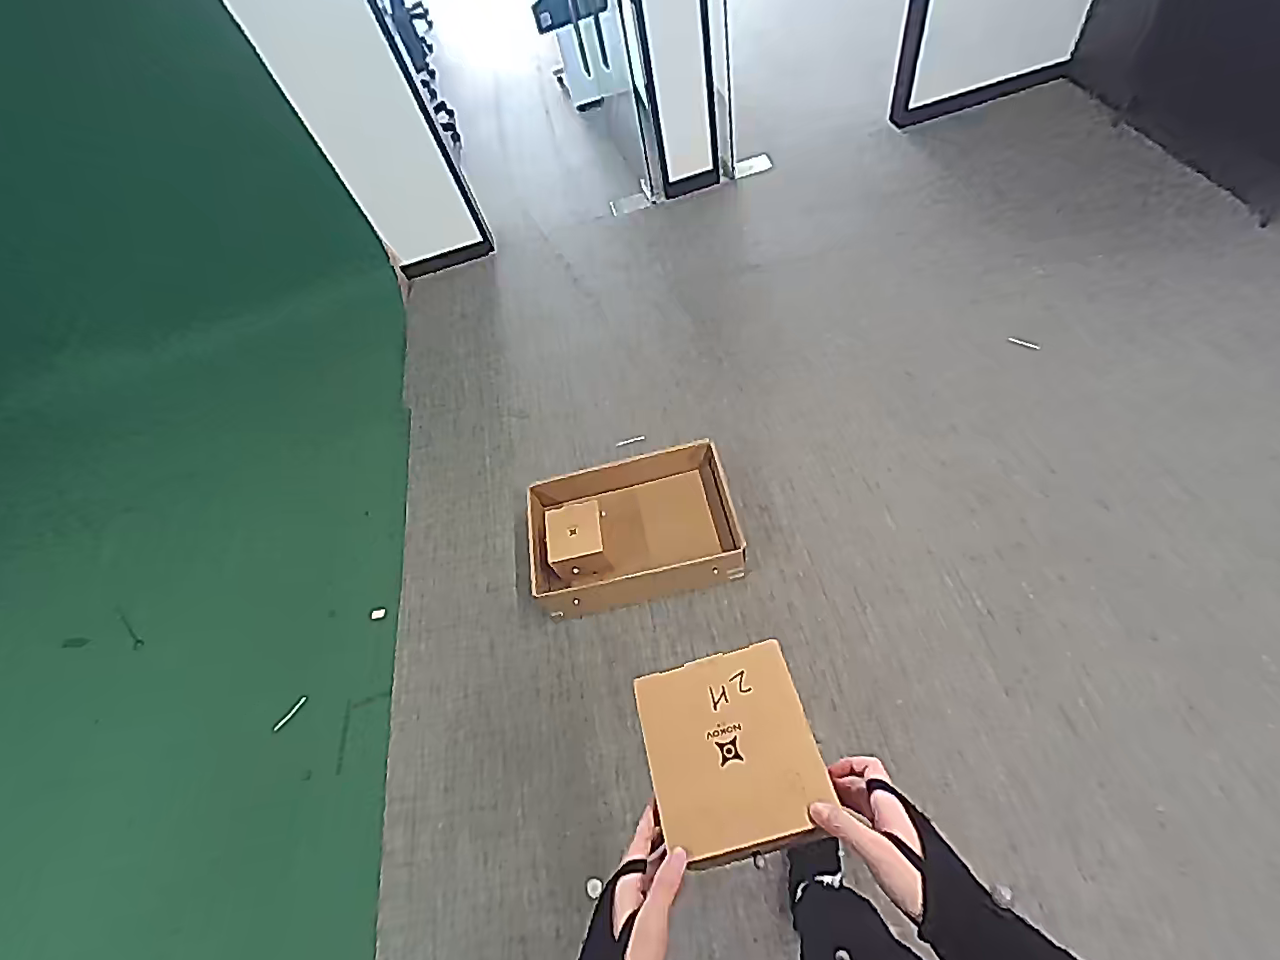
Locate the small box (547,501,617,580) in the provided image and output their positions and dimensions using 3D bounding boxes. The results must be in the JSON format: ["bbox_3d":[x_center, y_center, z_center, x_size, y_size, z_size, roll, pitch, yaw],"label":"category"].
[{"bbox_3d":[-0.174,0.192,1.646,0.168,0.176,0.179,-13,55,4],"label":"small box"}]
